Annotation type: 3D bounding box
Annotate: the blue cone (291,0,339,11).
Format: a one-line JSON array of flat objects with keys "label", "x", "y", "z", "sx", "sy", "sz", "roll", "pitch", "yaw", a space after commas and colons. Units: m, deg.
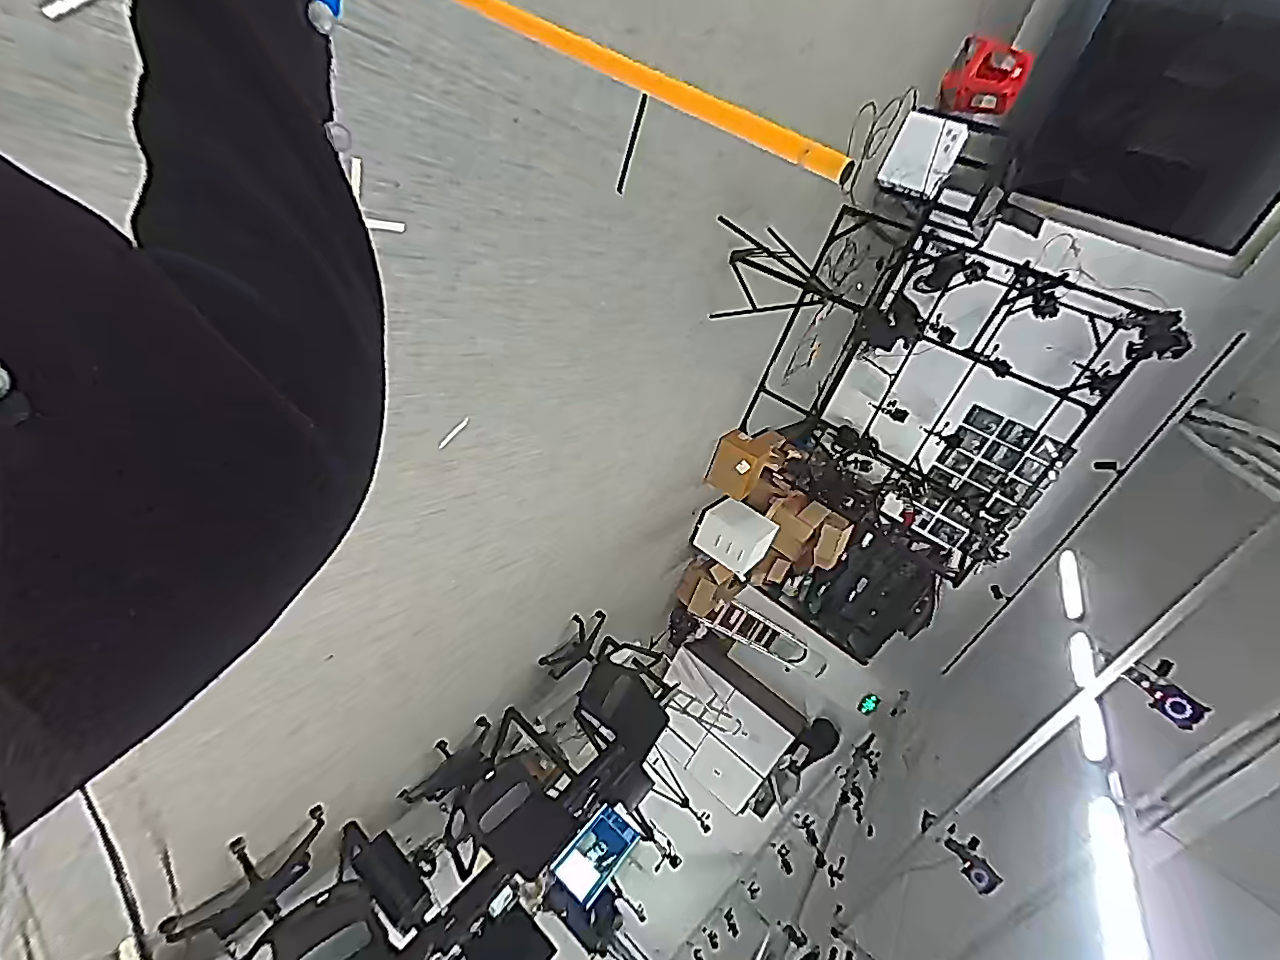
[{"label": "blue cone", "x": -0.528, "y": -0.929, "z": 0.939, "sx": 0.193, "sy": 0.380, "sz": 0.192, "roll": -25, "pitch": 141, "yaw": -50}]
